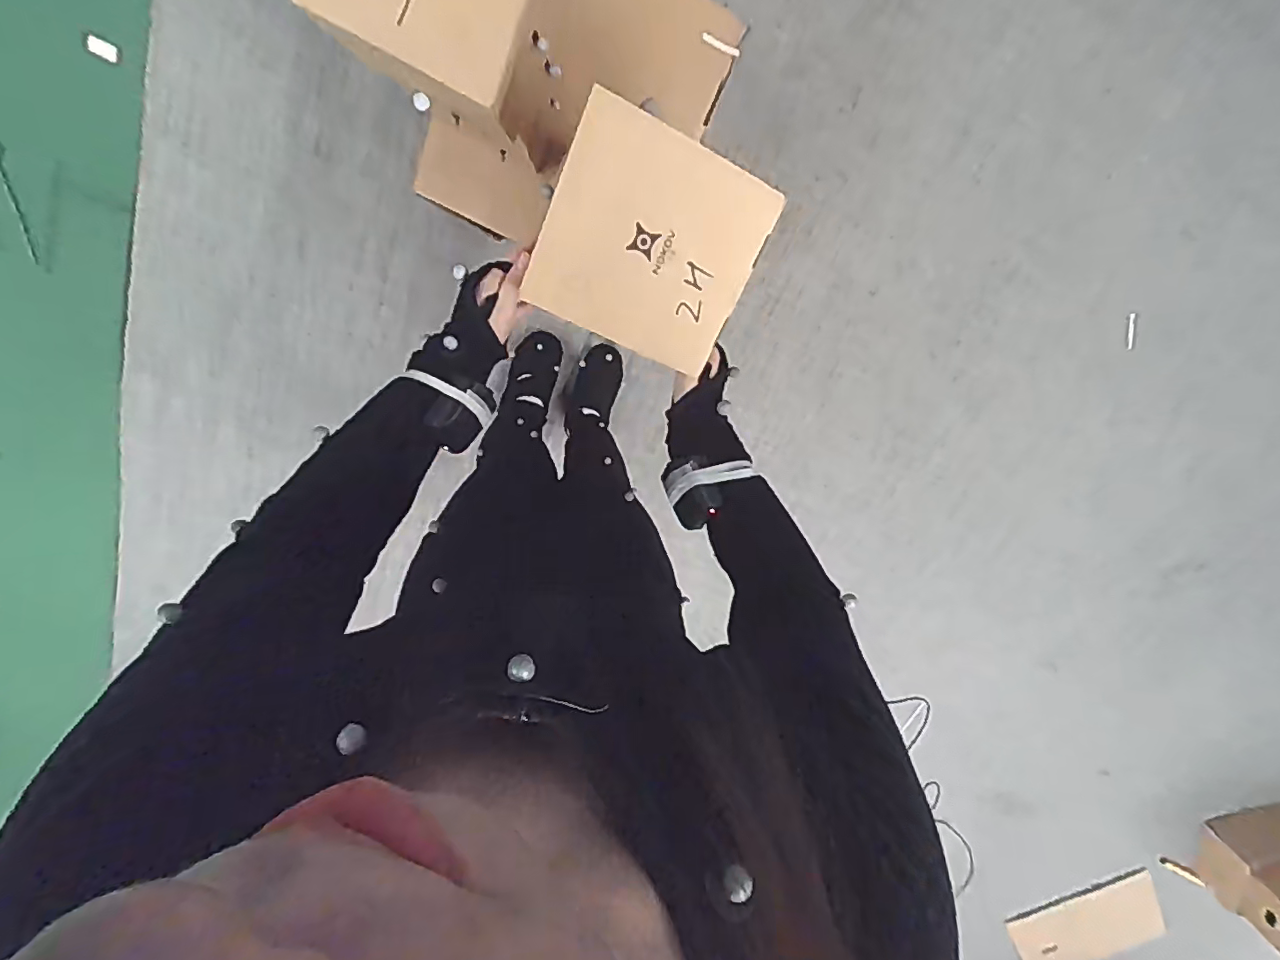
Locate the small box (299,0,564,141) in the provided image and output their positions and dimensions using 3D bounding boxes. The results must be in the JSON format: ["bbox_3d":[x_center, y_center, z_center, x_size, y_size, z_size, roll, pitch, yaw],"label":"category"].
[{"bbox_3d":[-0.169,-0.448,0.488,0.168,0.176,0.179,23,109,-14],"label":"small box"}]

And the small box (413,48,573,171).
[{"bbox_3d":[-0.200,-0.582,0.785,0.168,0.176,0.179,22,107,-14],"label":"small box"}]

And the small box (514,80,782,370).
[{"bbox_3d":[-0.004,-0.227,0.516,0.179,0.176,0.168,21,109,-17],"label":"small box"}]

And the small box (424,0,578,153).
[{"bbox_3d":[-0.180,-0.521,0.635,0.168,0.176,0.179,22,110,-14],"label":"small box"}]
